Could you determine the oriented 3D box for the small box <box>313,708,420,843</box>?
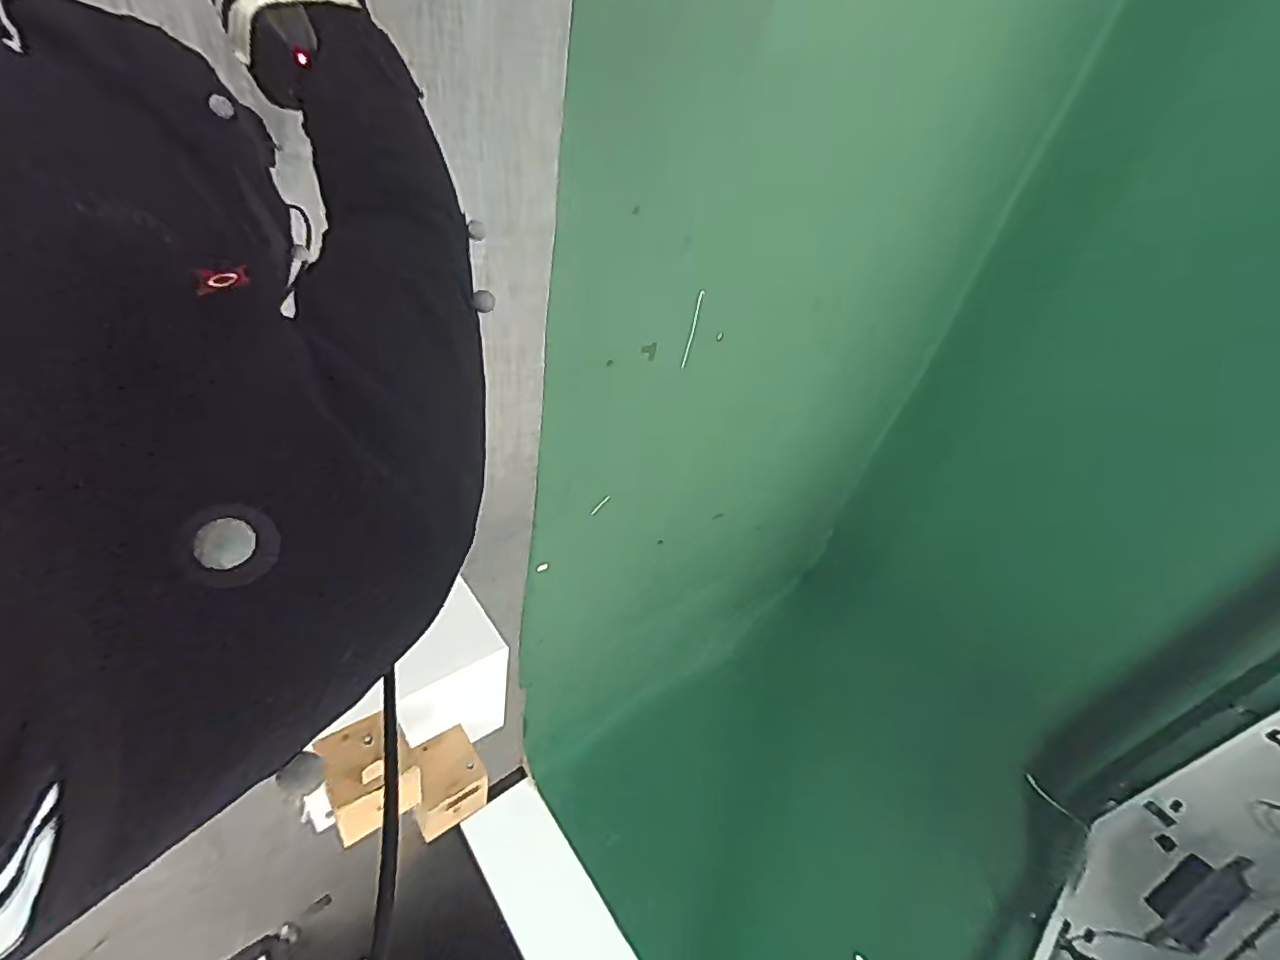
[{"bbox_3d":[-0.600,0.644,1.195,0.168,0.176,0.179,-18,137,-37],"label":"small box"}]
